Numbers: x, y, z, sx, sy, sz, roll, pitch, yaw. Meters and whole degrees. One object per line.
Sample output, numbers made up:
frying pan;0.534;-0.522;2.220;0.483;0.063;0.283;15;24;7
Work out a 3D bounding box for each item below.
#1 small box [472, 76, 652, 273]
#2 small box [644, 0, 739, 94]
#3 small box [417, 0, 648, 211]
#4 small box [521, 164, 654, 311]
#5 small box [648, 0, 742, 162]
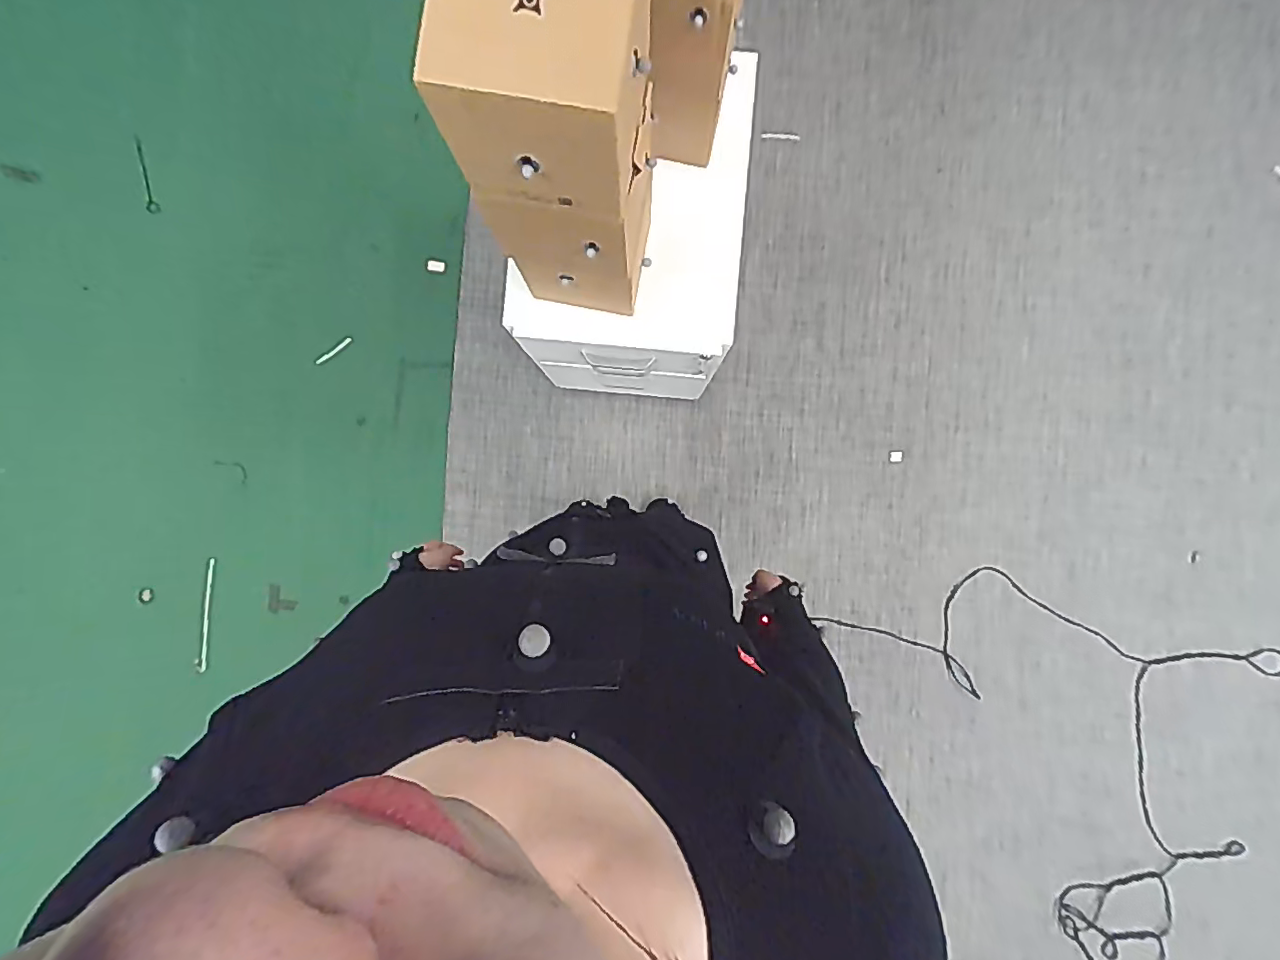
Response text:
small box;-0.085;-0.380;0.676;0.179;0.176;0.168;11;88;1
small box;0.040;-0.631;0.680;0.179;0.176;0.168;12;90;0
small box;-0.085;-0.387;0.512;0.168;0.176;0.179;10;87;-1
small box;-0.082;-0.379;0.838;0.179;0.176;0.168;11;89;-1
small box;0.046;-0.632;0.842;0.179;0.176;0.168;12;90;1
